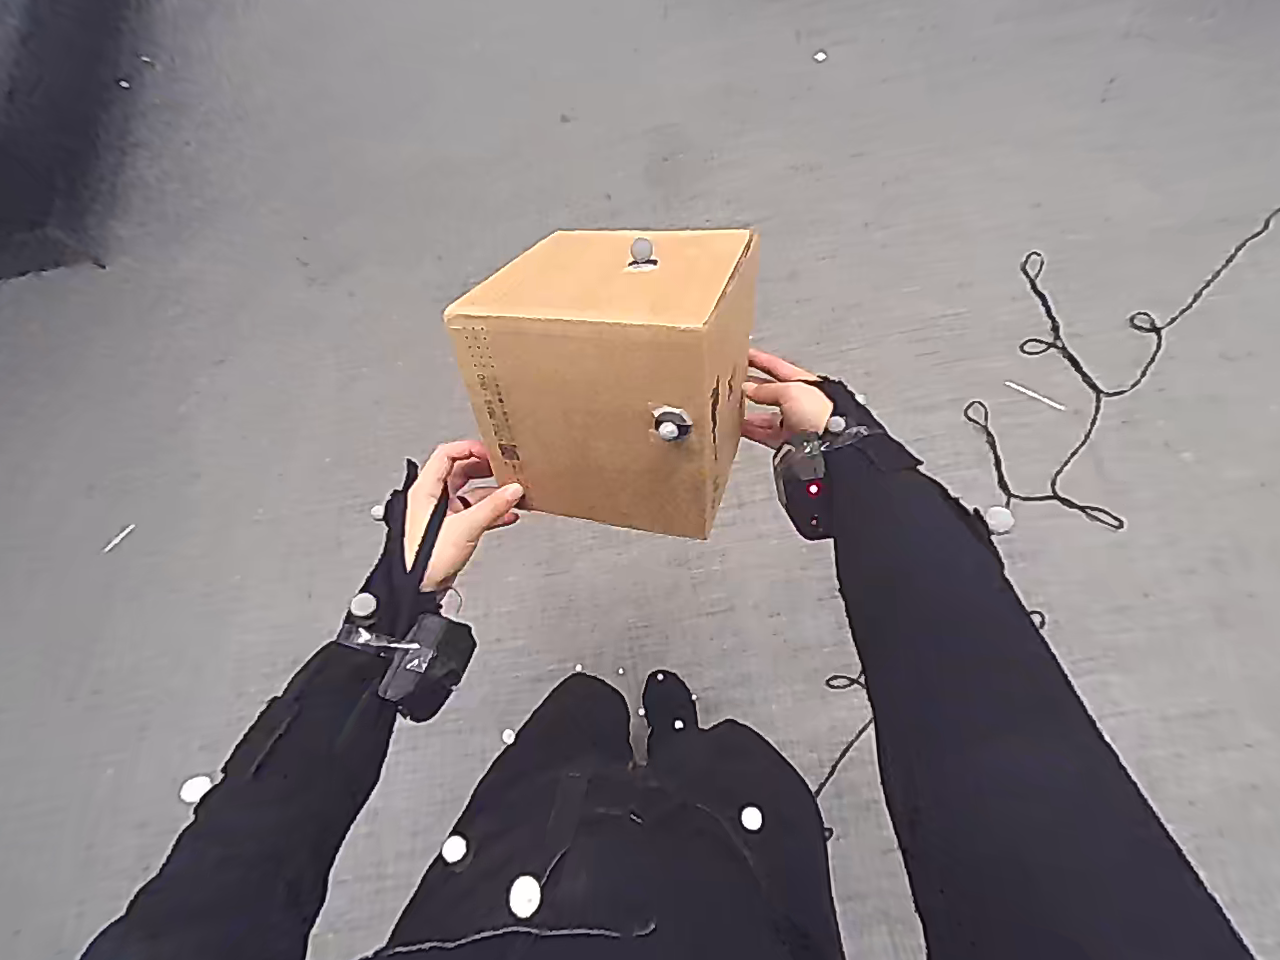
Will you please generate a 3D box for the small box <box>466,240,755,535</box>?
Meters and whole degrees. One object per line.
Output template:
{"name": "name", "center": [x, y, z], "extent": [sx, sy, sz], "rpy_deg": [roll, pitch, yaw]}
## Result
{"name": "small box", "center": [-0.009, -0.085, 0.433], "extent": [0.176, 0.168, 0.179], "rpy_deg": [8, 41, 16]}
